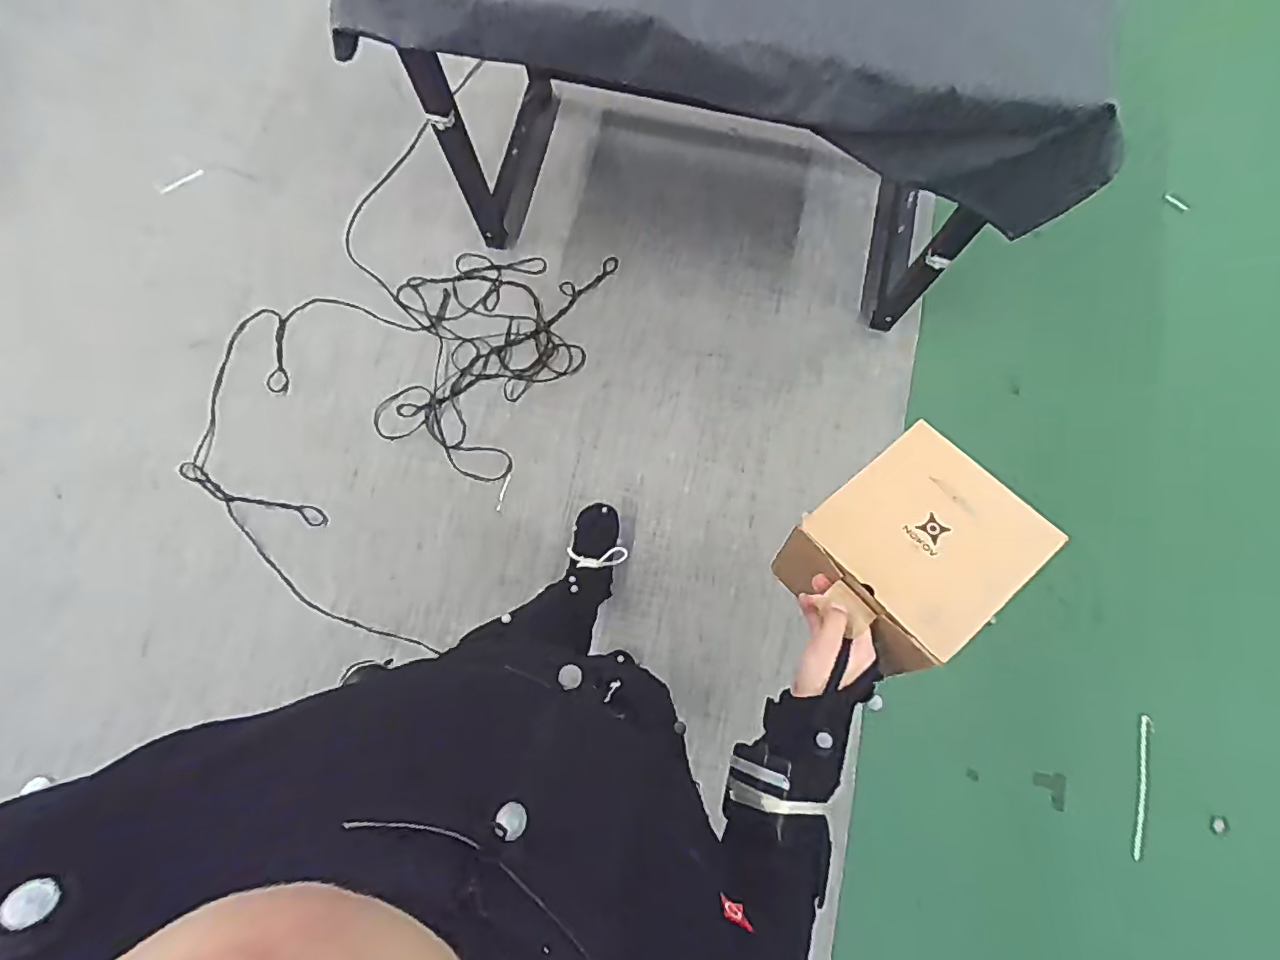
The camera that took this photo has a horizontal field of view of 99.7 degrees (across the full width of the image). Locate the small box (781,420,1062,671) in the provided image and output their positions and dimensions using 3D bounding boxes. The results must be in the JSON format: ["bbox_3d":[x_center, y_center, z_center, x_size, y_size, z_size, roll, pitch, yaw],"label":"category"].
[{"bbox_3d":[0.267,0.078,0.565,0.179,0.176,0.168,-38,70,-13],"label":"small box"}]
